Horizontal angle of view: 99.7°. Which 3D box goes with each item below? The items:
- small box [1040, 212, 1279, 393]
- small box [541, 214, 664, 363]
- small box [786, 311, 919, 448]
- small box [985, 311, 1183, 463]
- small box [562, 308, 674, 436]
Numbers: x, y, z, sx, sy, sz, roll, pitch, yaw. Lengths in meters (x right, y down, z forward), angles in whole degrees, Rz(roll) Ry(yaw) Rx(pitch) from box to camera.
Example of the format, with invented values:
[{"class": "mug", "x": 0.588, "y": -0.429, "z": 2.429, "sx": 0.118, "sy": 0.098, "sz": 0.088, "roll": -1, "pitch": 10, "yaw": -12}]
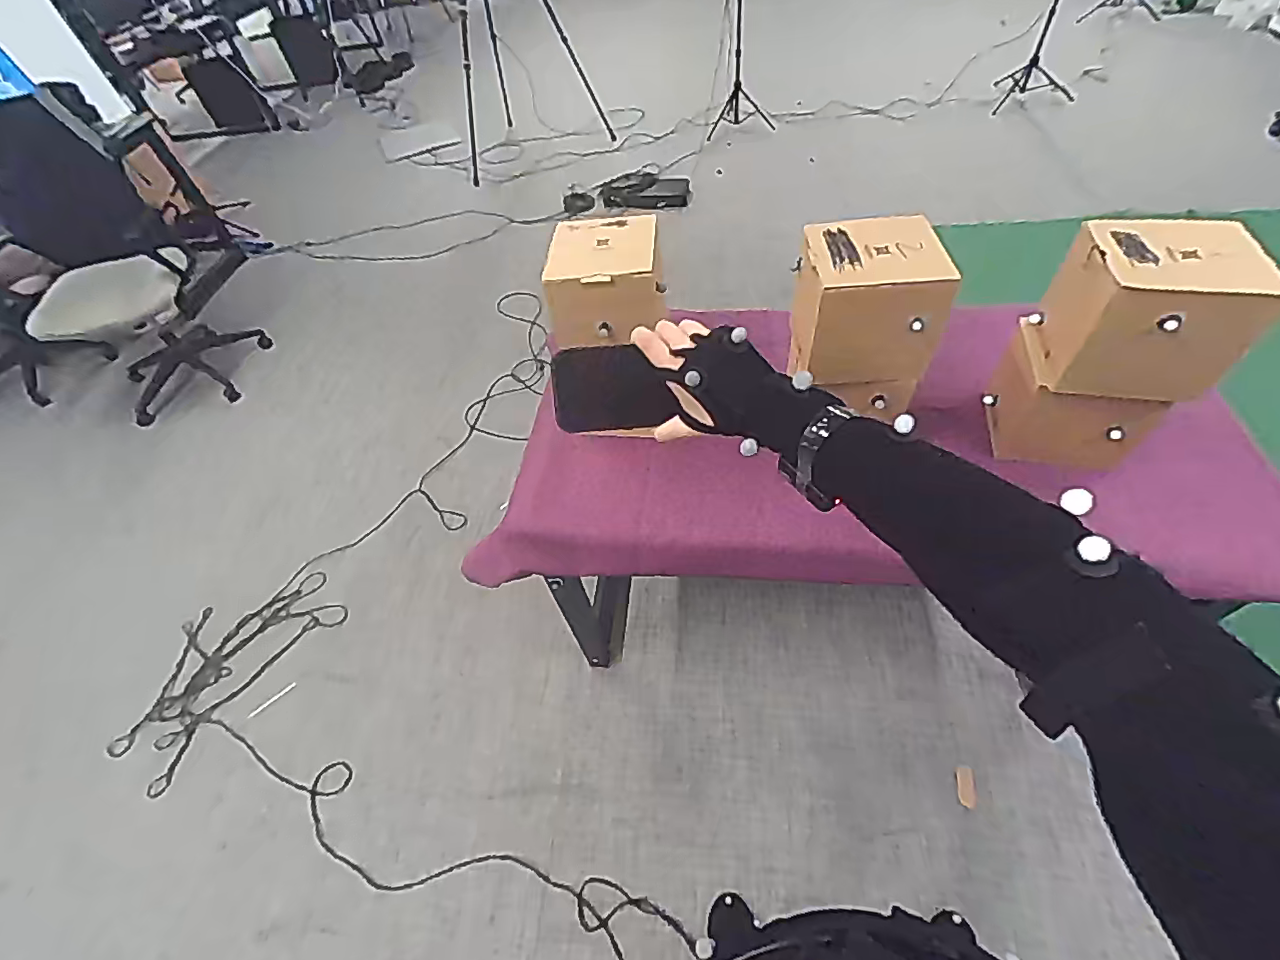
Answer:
[{"class": "small box", "x": 0.670, "y": -0.233, "z": 0.719, "sx": 0.179, "sy": 0.176, "sz": 0.168, "roll": 7, "pitch": 53, "yaw": 14}, {"class": "small box", "x": -0.050, "y": -0.305, "z": 0.887, "sx": 0.168, "sy": 0.176, "sz": 0.179, "roll": -1, "pitch": 52, "yaw": 7}, {"class": "small box", "x": 0.350, "y": -0.168, "z": 0.926, "sx": 0.179, "sy": 0.176, "sz": 0.168, "roll": 2, "pitch": 52, "yaw": 11}, {"class": "small box", "x": 0.683, "y": -0.145, "z": 0.857, "sx": 0.179, "sy": 0.176, "sz": 0.168, "roll": 7, "pitch": 53, "yaw": 14}, {"class": "small box", "x": -0.031, "y": -0.198, "z": 1.009, "sx": 0.168, "sy": 0.176, "sz": 0.179, "roll": 2, "pitch": 52, "yaw": 11}]
